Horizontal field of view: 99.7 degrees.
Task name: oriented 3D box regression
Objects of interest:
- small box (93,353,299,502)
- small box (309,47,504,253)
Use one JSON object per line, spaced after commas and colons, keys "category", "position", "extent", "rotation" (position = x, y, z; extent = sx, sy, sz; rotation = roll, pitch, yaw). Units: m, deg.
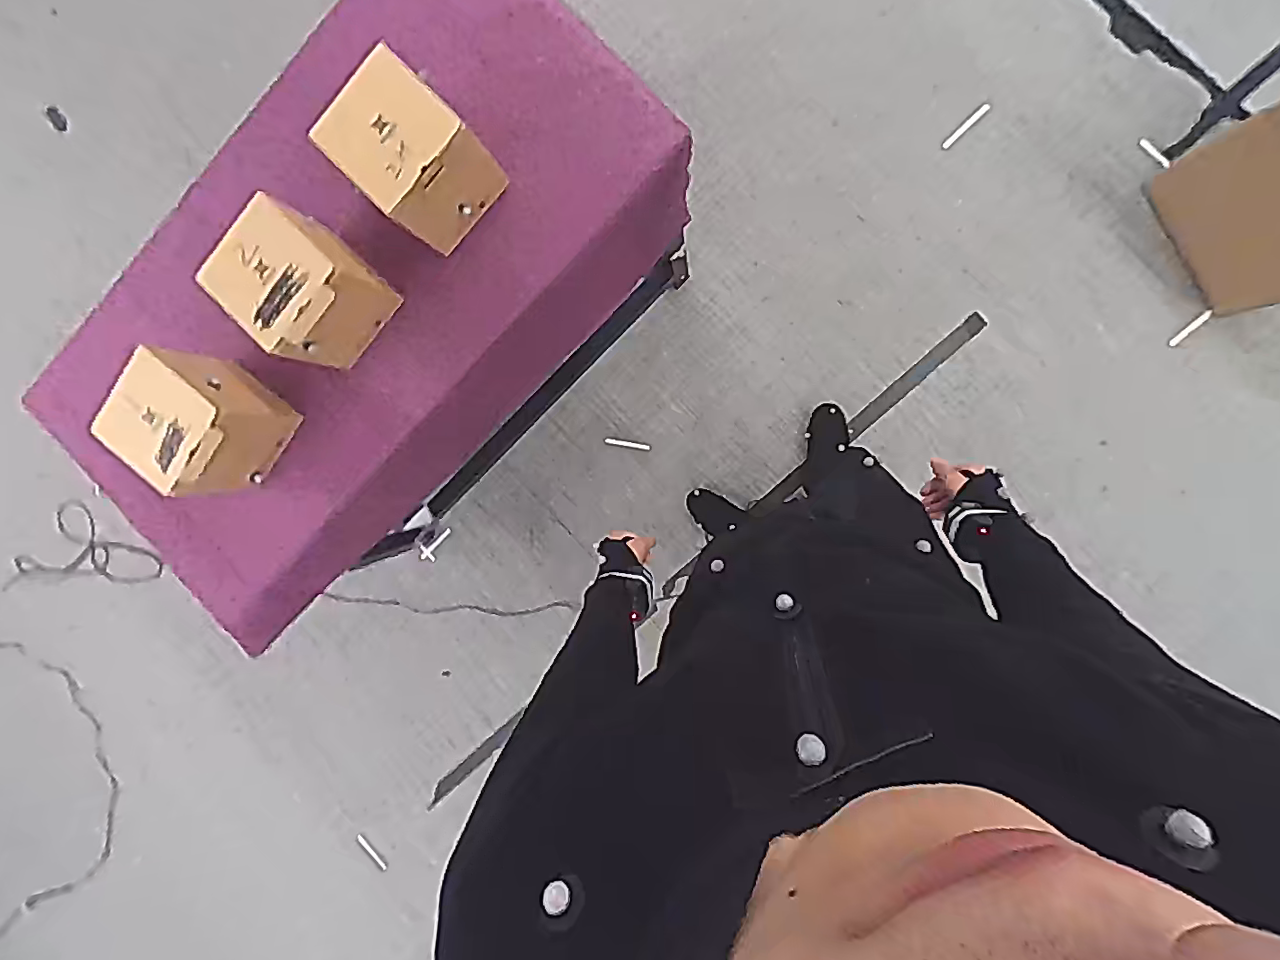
{"category": "small box", "position": [-0.726, -0.086, 0.904], "extent": [0.179, 0.176, 0.168], "rotation": [37, 97, 5]}
{"category": "small box", "position": [-0.345, -0.486, 0.829], "extent": [0.179, 0.176, 0.168], "rotation": [45, 98, 3]}
